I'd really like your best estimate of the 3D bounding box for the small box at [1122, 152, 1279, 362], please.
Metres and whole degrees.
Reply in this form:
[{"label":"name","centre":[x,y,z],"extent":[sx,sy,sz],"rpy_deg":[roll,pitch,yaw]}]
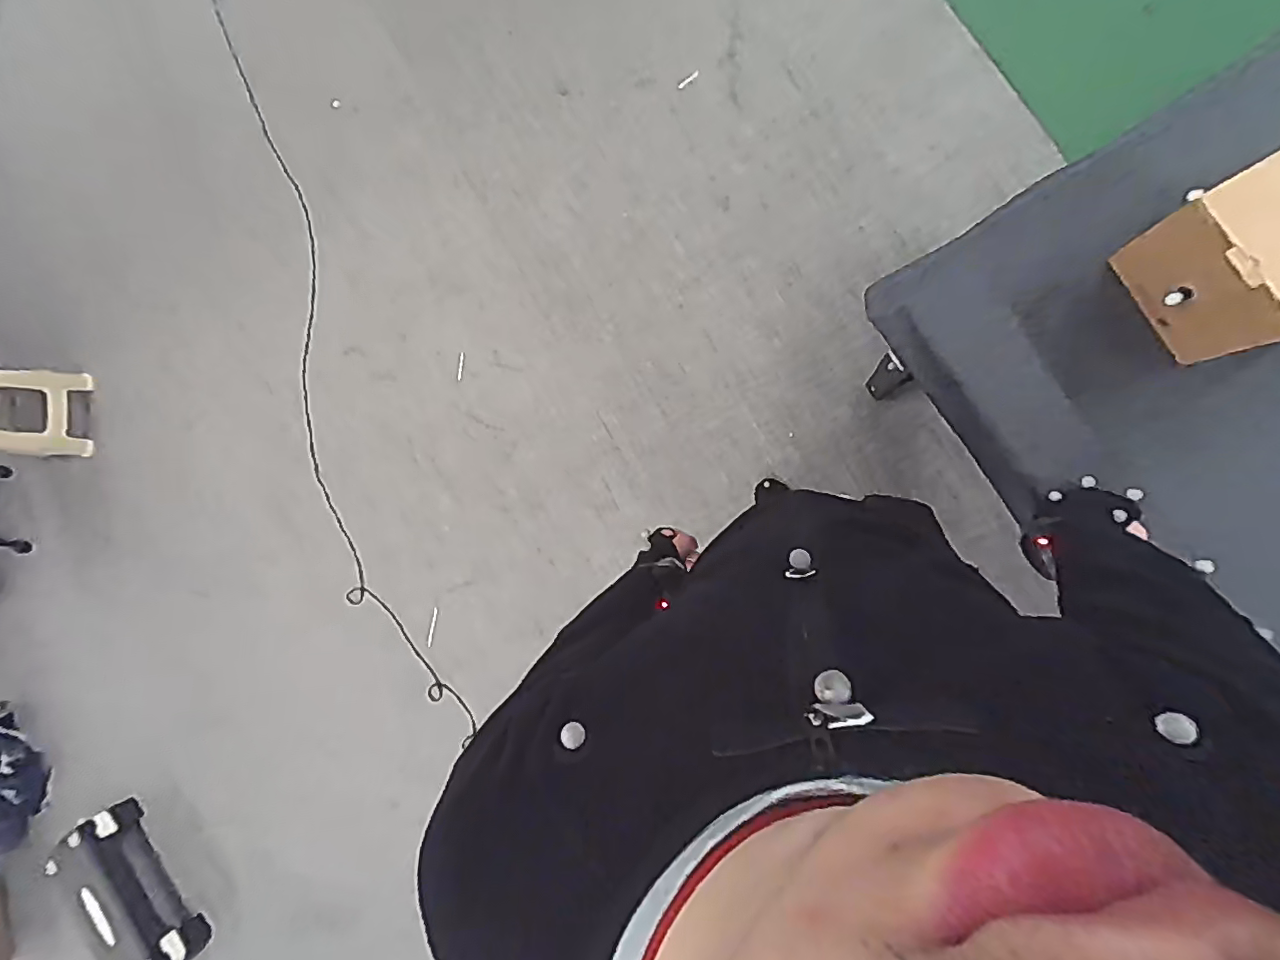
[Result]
[{"label":"small box","centre":[0.682,-0.249,0.585],"extent":[0.179,0.176,0.168],"rpy_deg":[-31,83,15]}]
